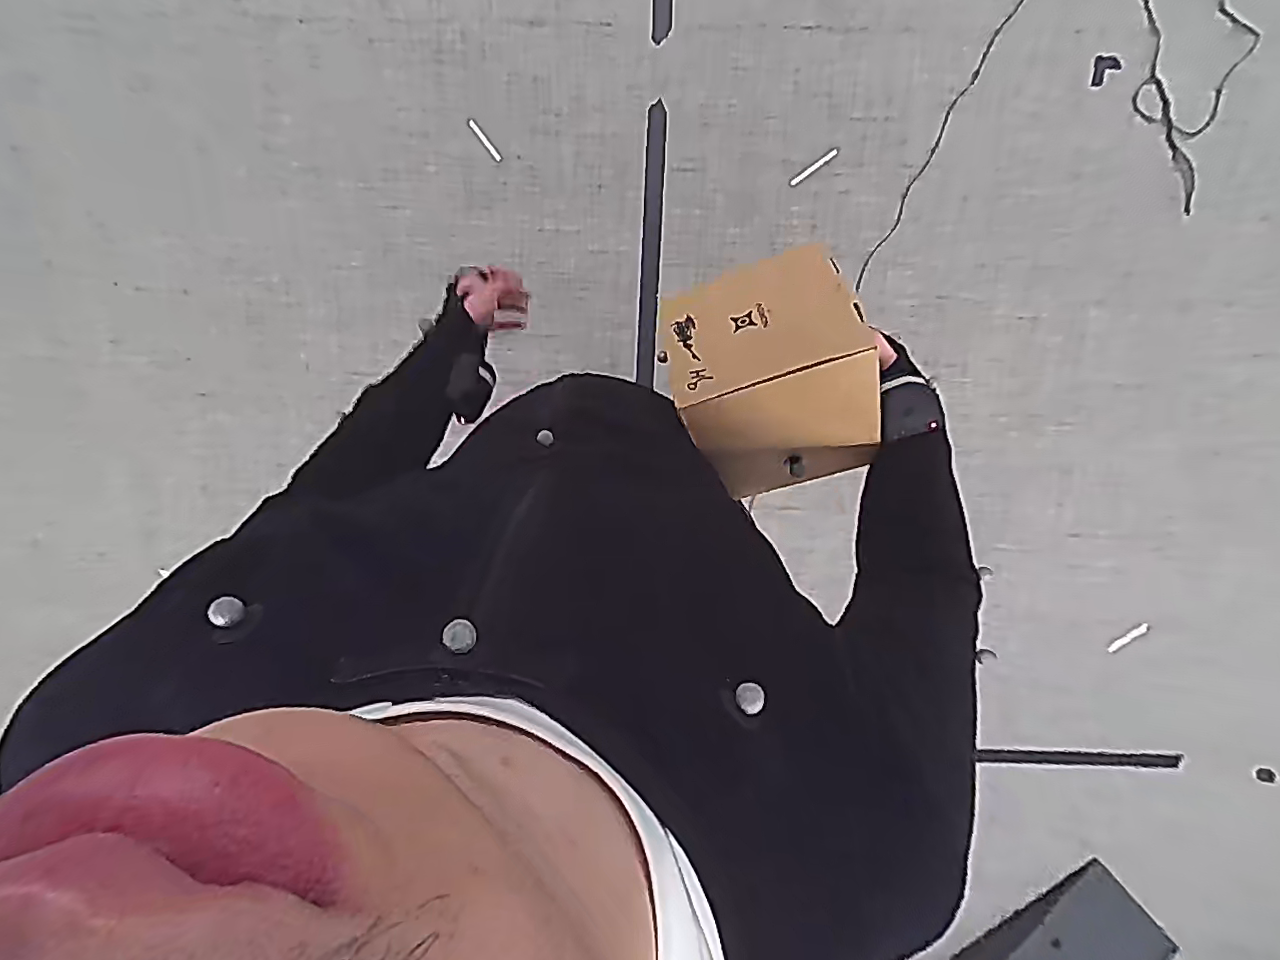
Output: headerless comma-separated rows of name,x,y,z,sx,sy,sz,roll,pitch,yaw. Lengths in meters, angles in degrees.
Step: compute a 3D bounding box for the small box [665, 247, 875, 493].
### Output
small box,0.141,-0.110,0.588,0.179,0.168,0.176,-16,141,14
